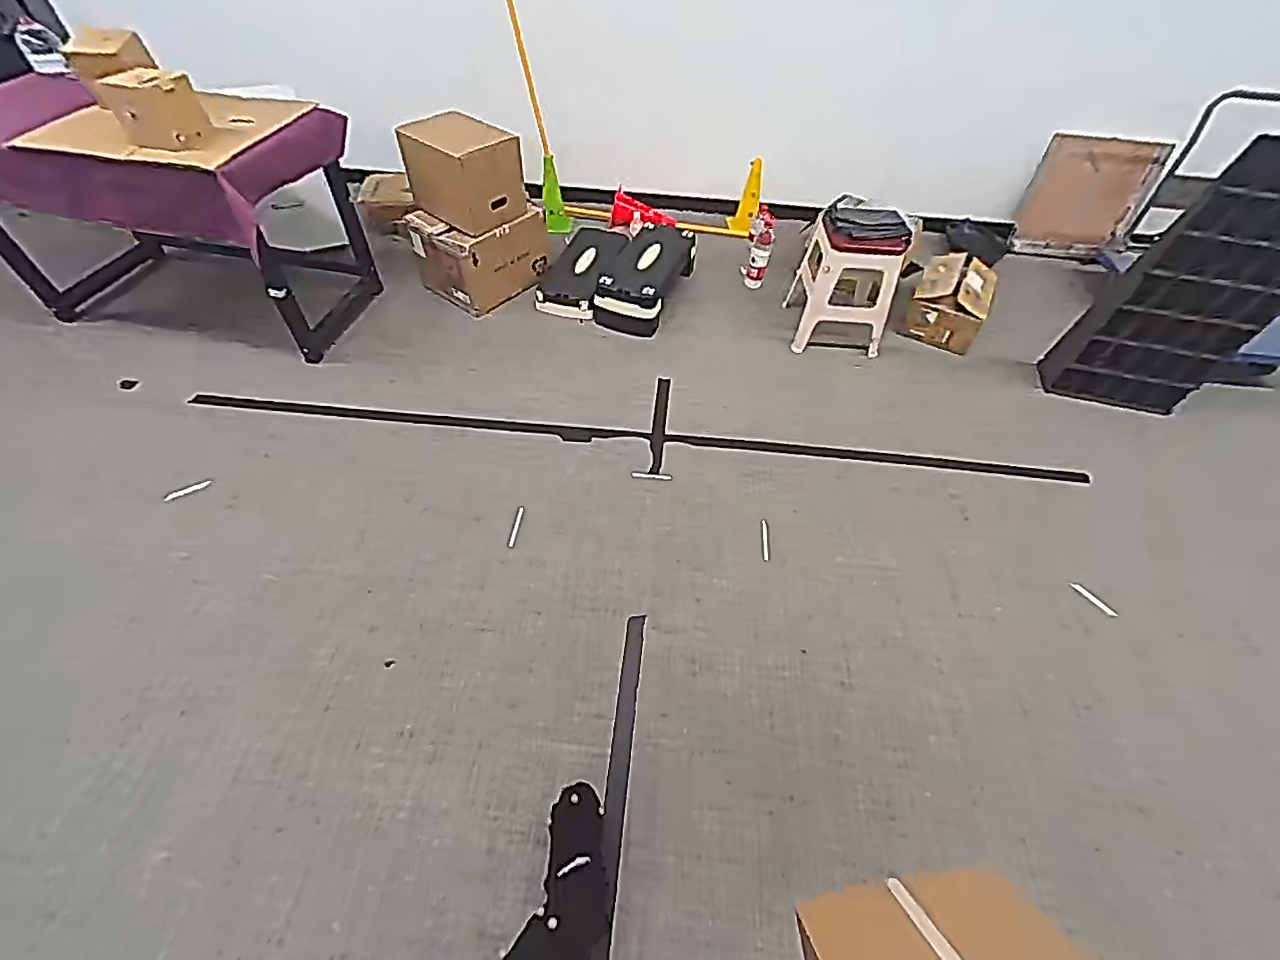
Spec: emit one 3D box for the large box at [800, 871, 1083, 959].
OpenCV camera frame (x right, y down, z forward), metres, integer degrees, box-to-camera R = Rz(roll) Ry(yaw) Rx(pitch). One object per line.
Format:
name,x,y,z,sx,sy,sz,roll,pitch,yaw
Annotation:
large box,0.419,0.758,0.626,0.320,0.408,0.320,-9,85,-2
